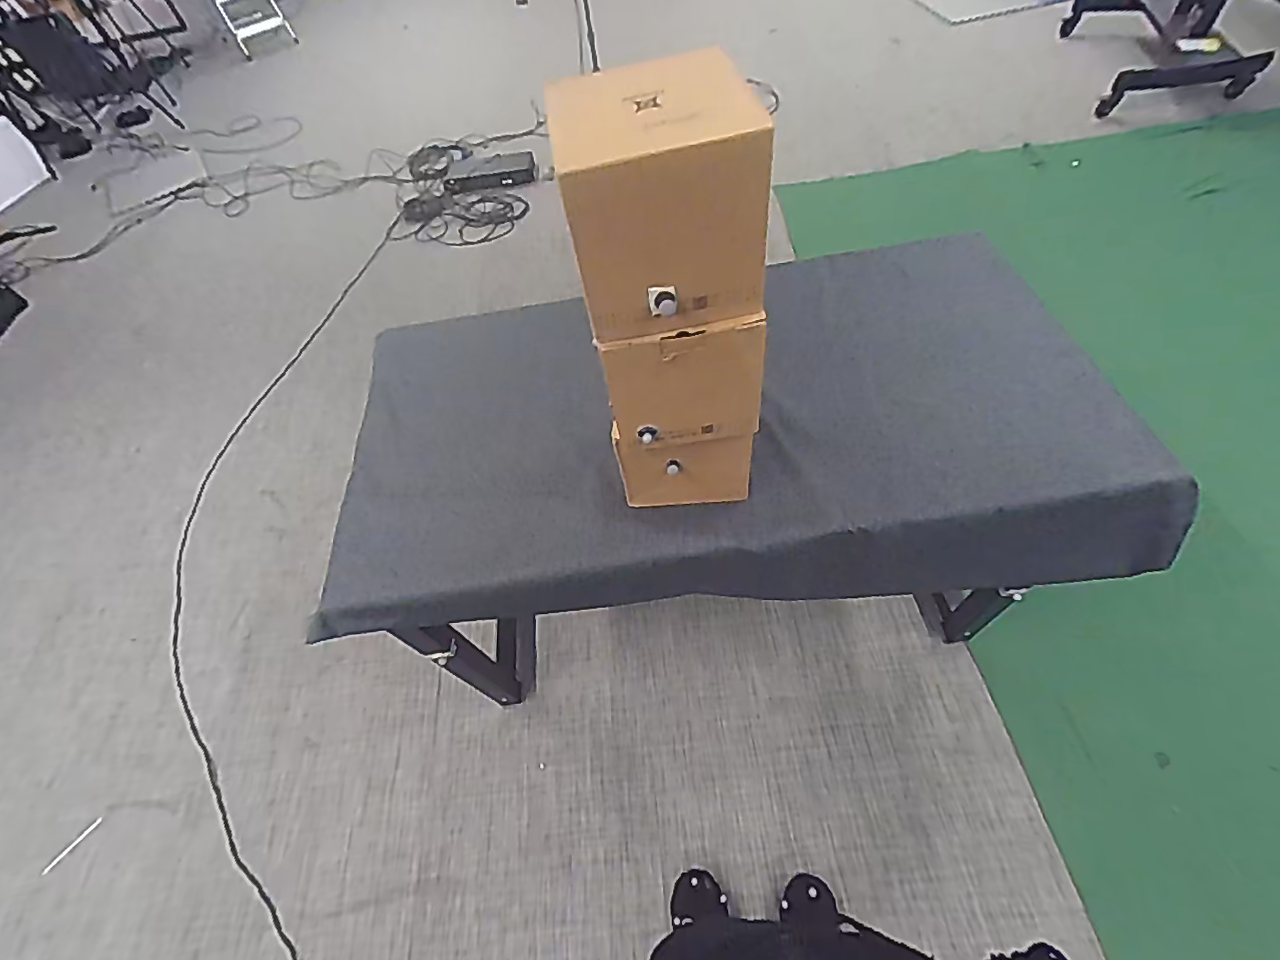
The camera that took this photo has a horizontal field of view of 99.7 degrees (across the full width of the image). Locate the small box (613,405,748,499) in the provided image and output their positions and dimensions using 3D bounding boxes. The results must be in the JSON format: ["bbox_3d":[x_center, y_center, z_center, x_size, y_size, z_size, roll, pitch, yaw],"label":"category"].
[{"bbox_3d":[0.059,-0.085,0.788,0.179,0.176,0.168,-6,54,3],"label":"small box"}]

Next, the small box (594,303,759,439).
[{"bbox_3d":[0.038,-0.166,0.643,0.168,0.176,0.179,-11,56,1],"label":"small box"}]

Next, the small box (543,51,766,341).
[{"bbox_3d":[0.012,-0.264,0.516,0.168,0.176,0.179,-13,56,1],"label":"small box"}]
